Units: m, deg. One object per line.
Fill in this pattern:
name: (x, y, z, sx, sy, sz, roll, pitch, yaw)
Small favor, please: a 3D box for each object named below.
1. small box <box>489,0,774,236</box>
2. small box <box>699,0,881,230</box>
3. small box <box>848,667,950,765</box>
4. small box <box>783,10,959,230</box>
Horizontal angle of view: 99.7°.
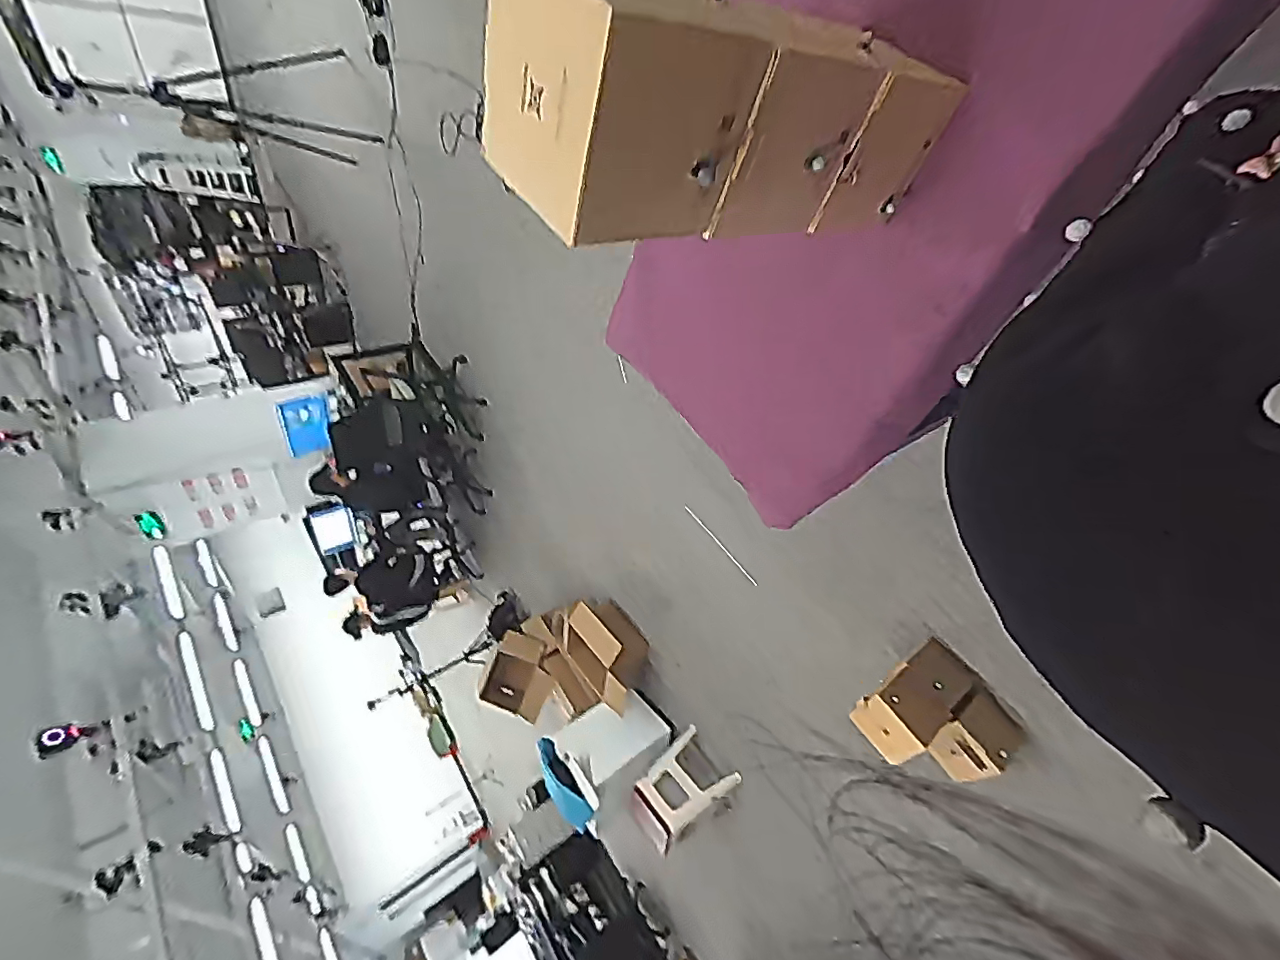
small box: (-0.017, -0.346, 0.492, 0.179, 0.176, 0.168, 51, 143, 24)
small box: (0.112, -0.392, 0.581, 0.179, 0.176, 0.168, 51, 143, 24)
small box: (0.757, 0.684, 1.577, 0.179, 0.176, 0.168, 50, 142, 27)
small box: (0.244, -0.437, 0.668, 0.179, 0.176, 0.168, 52, 143, 24)
